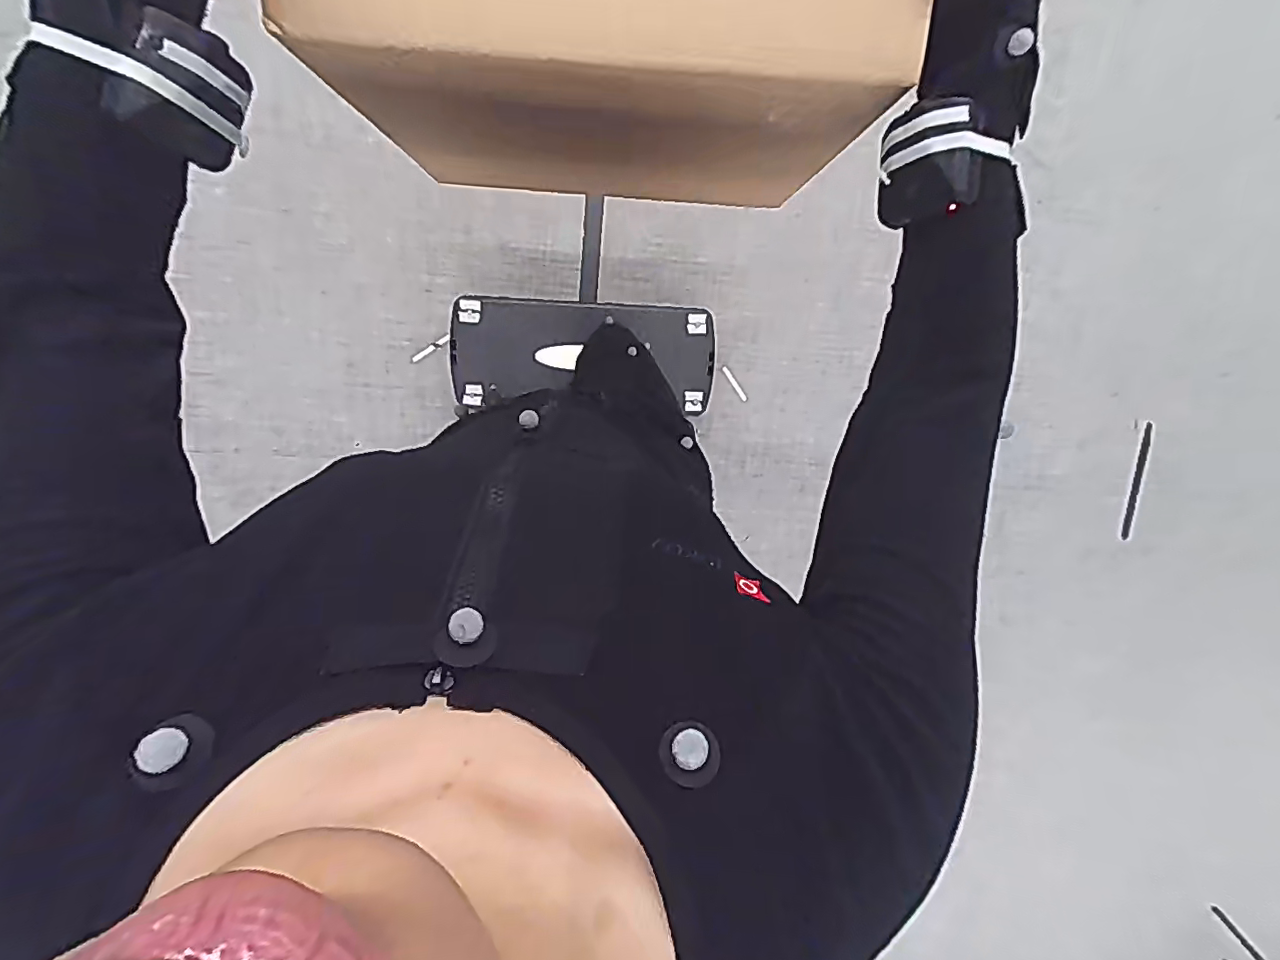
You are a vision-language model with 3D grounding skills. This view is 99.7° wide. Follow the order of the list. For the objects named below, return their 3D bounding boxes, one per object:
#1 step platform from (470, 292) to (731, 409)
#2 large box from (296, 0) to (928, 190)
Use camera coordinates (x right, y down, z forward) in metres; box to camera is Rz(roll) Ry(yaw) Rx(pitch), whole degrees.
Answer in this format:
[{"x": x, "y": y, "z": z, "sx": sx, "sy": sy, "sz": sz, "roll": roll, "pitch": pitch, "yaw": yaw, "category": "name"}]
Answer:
[{"x": -0.102, "y": -0.343, "z": 1.457, "sx": 0.684, "sy": 0.204, "sz": 0.286, "roll": 0, "pitch": 102, "yaw": -6, "category": "step platform"}, {"x": -0.018, "y": -0.457, "z": 0.453, "sx": 0.408, "sy": 0.320, "sz": 0.320, "roll": 2, "pitch": 105, "yaw": -3, "category": "large box"}]
